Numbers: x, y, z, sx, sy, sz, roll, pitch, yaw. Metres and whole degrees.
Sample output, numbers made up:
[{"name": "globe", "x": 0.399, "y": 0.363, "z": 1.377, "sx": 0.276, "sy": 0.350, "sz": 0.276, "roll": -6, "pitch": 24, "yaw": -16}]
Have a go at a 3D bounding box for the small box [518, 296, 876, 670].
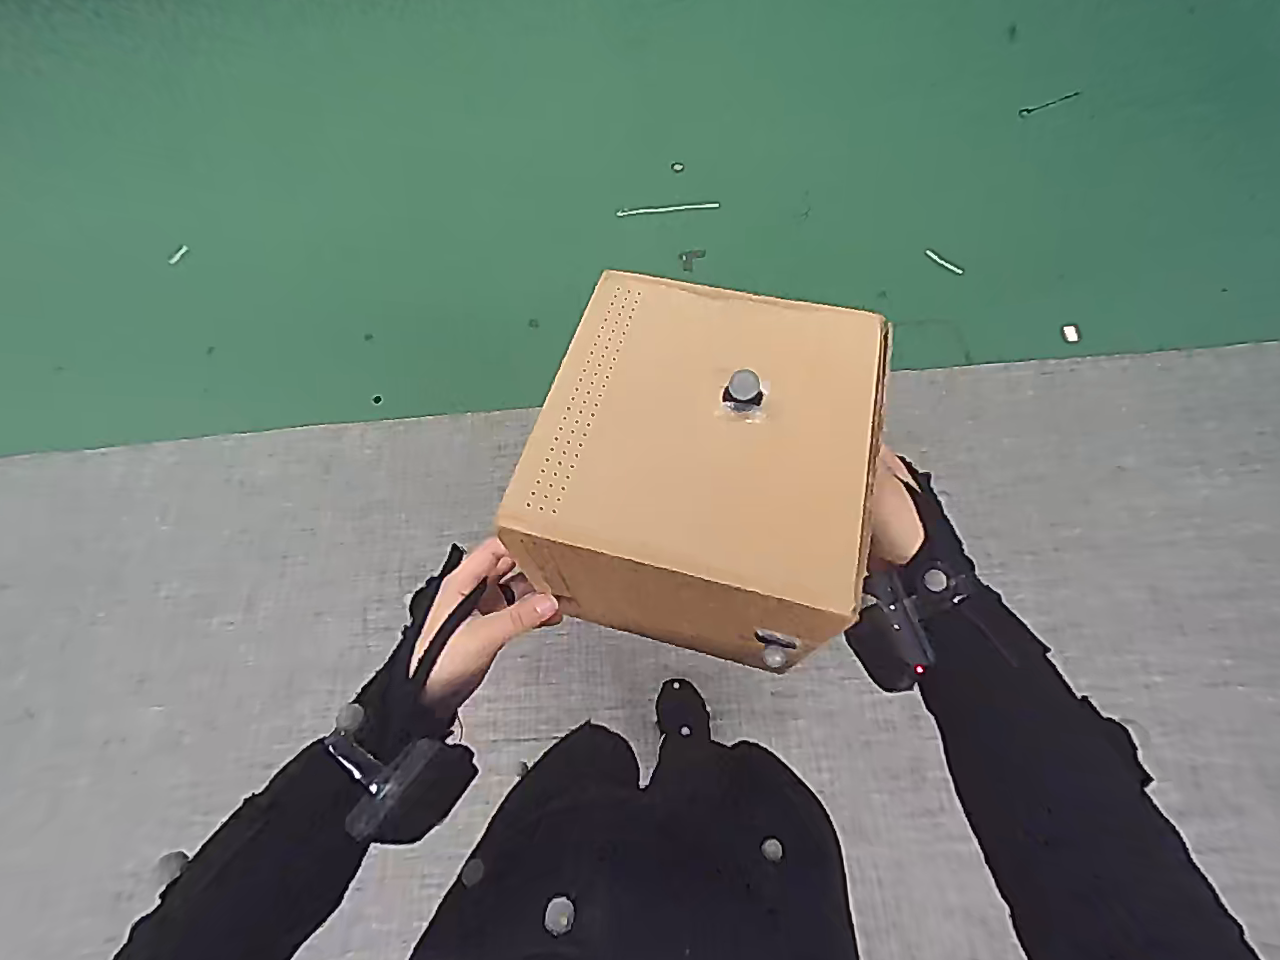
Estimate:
[{"name": "small box", "x": 0.038, "y": 0.004, "z": 0.358, "sx": 0.176, "sy": 0.168, "sz": 0.179, "roll": 12, "pitch": 63, "yaw": 10}]
